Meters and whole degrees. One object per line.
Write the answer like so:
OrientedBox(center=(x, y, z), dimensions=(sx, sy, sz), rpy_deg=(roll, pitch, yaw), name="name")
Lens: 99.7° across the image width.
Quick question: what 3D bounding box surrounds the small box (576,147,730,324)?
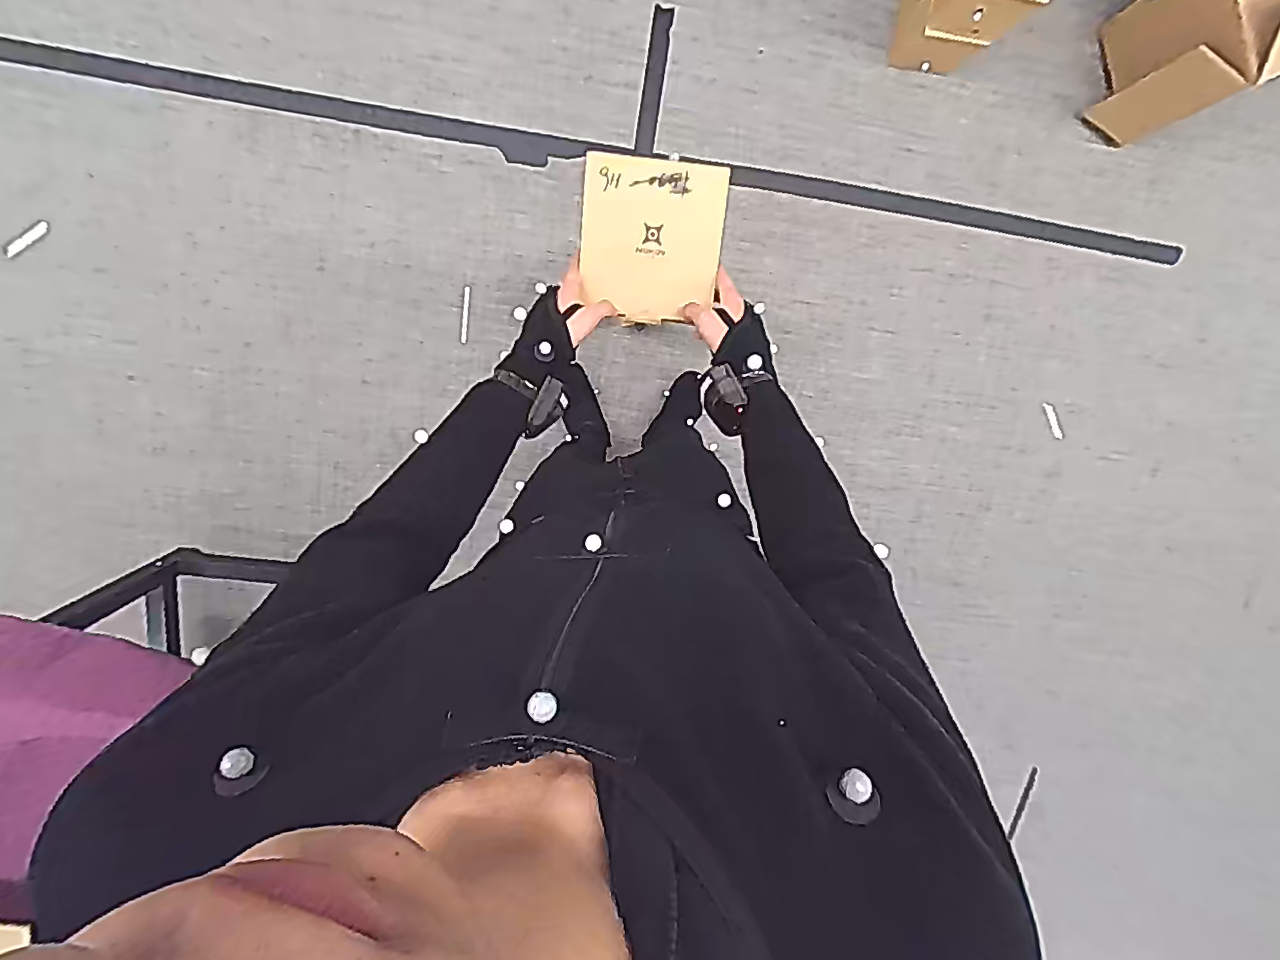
OrientedBox(center=(0.012, -0.309, 0.711), dimensions=(0.168, 0.176, 0.179), rpy_deg=(6, 108, -3), name="small box")
